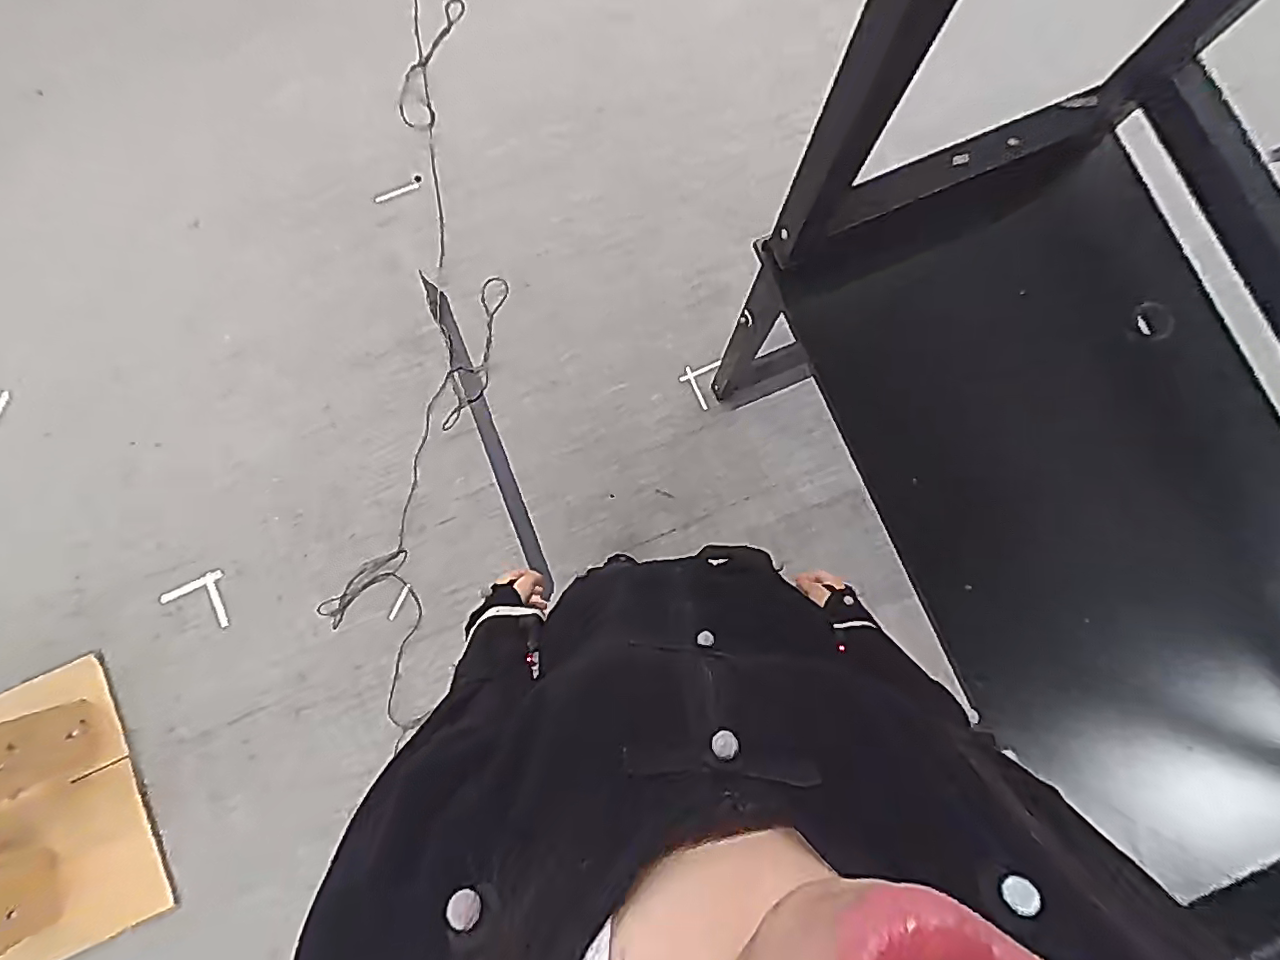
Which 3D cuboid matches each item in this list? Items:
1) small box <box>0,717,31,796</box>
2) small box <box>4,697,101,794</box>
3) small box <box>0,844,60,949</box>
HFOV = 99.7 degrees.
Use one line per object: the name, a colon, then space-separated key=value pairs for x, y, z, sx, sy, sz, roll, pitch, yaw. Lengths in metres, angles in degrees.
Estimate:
small box: x=-1.536 y=0.654 z=1.197 sx=0.179 sy=0.176 sz=0.168 roll=-20 pitch=84 yaw=-4
small box: x=-1.537 y=0.676 z=1.359 sx=0.179 sy=0.176 sz=0.168 roll=-23 pitch=84 yaw=-4
small box: x=-1.580 y=1.037 z=1.313 sx=0.168 sy=0.176 sz=0.179 roll=-15 pitch=85 yaw=-2
